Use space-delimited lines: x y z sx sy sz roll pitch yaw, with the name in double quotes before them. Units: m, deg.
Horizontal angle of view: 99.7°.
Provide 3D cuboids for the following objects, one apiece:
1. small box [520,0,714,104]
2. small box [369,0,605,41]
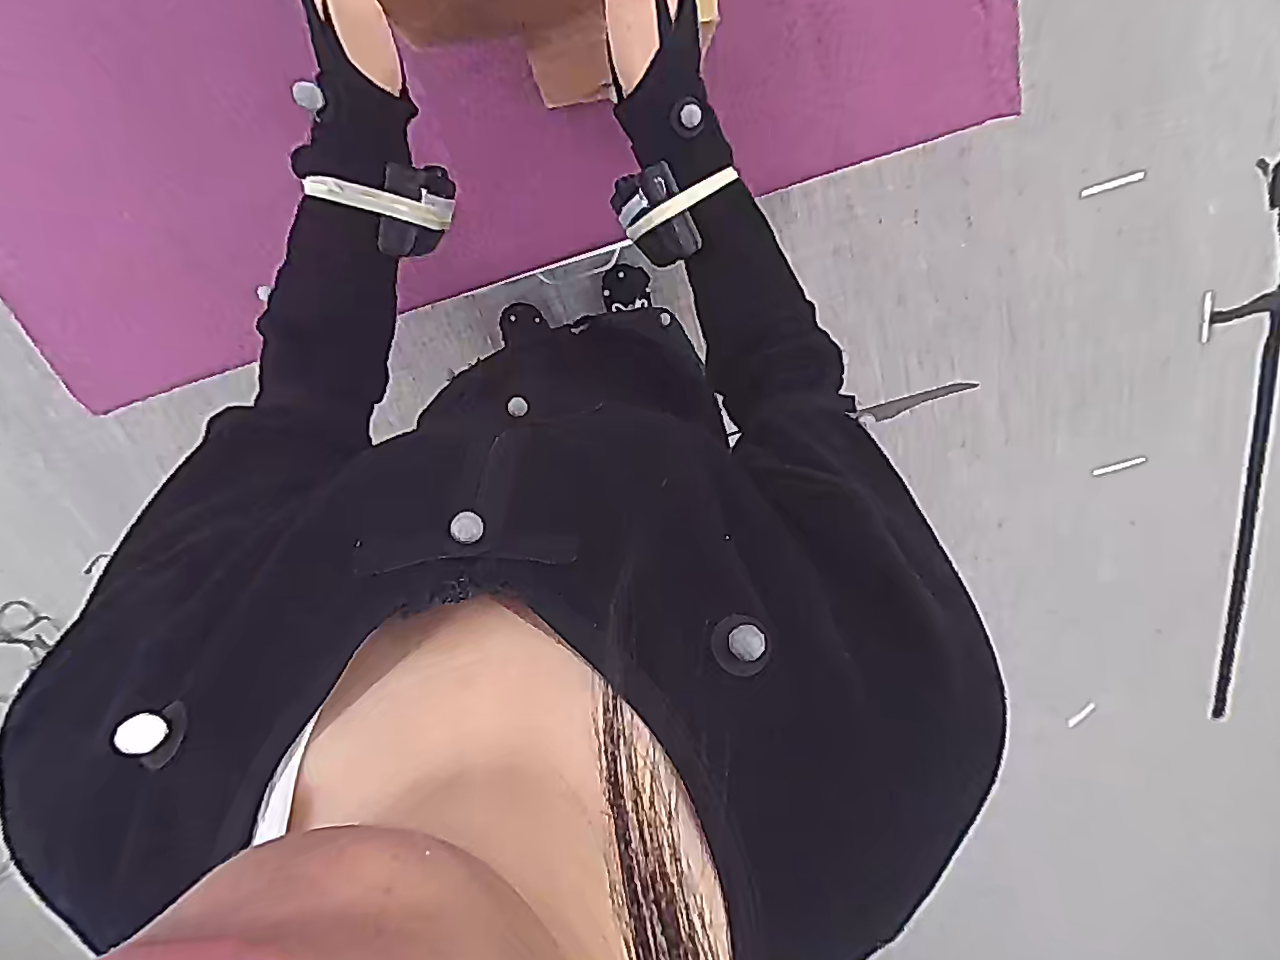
"small box" -0.033 -0.480 0.496 0.168 0.176 0.179 -8 112 0
"small box" -0.104 -0.397 0.320 0.179 0.176 0.168 -9 114 0
